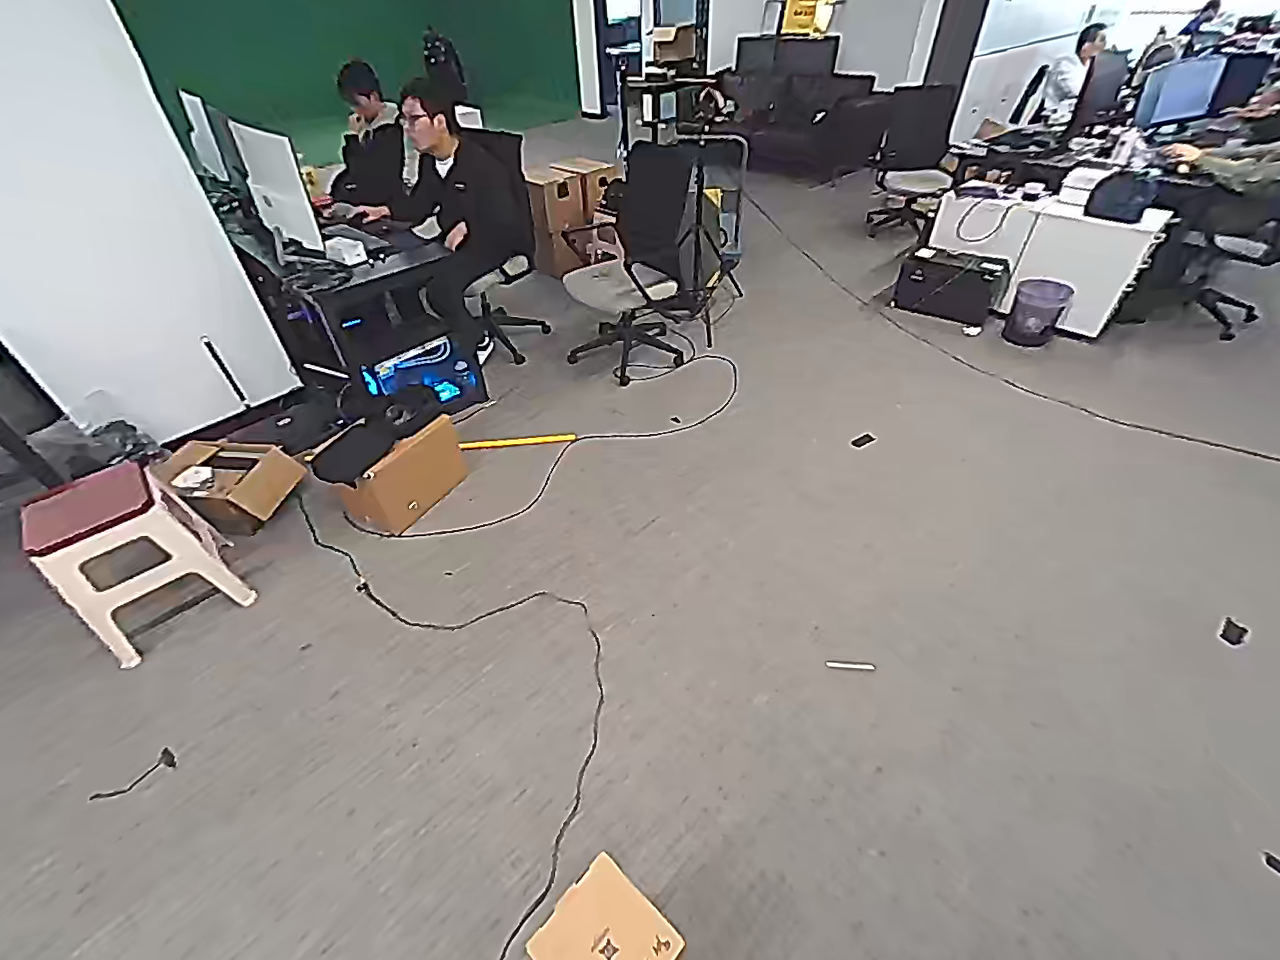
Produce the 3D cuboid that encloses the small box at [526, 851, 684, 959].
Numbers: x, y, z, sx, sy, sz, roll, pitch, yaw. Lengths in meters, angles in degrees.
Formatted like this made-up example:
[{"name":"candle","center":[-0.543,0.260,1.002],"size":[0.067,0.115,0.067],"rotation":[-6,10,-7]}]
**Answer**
[{"name":"small box","center":[-0.050,0.737,0.842],"size":[0.179,0.176,0.168],"rotation":[30,51,31]}]
